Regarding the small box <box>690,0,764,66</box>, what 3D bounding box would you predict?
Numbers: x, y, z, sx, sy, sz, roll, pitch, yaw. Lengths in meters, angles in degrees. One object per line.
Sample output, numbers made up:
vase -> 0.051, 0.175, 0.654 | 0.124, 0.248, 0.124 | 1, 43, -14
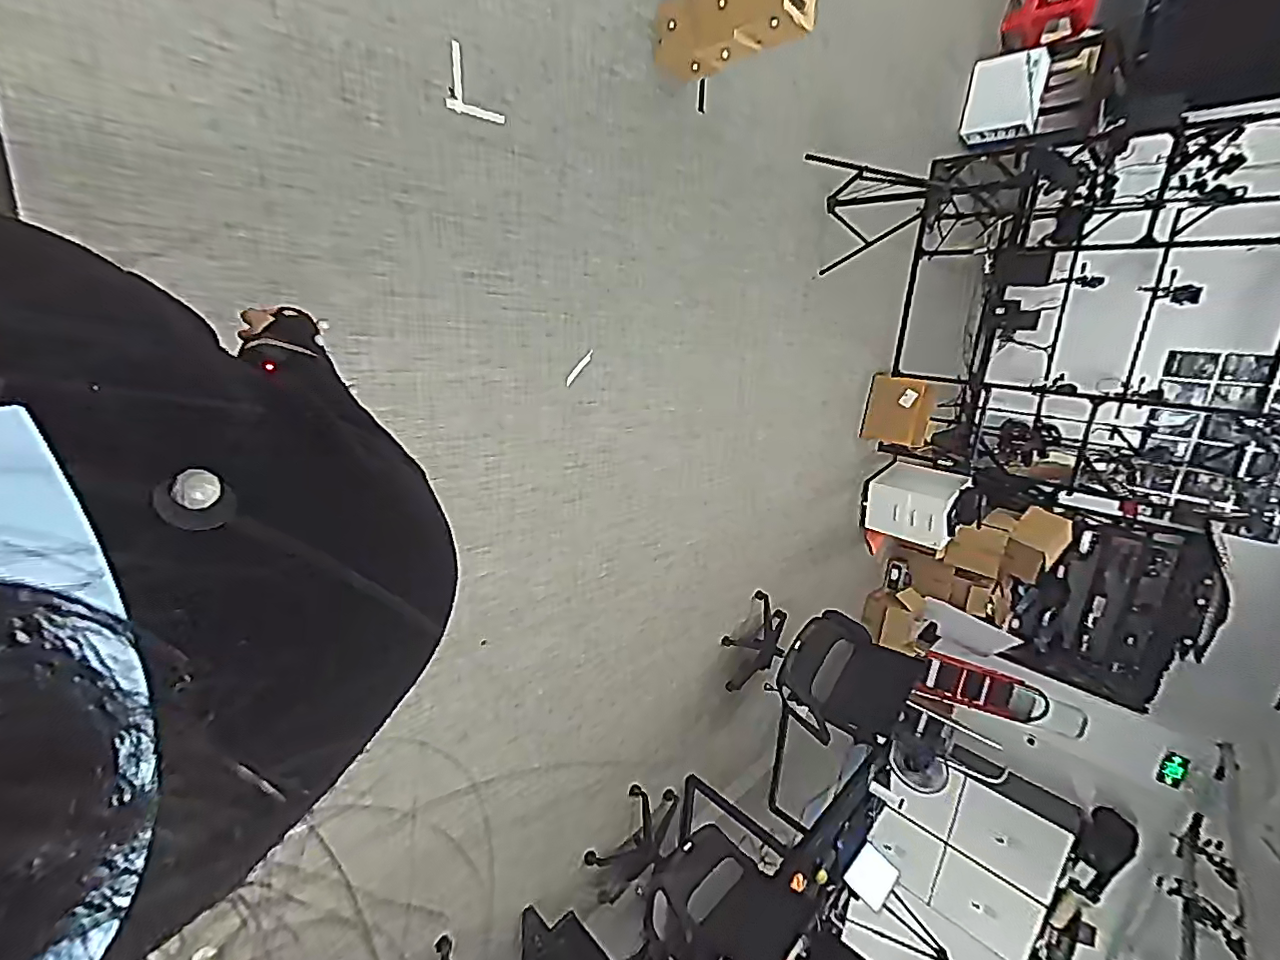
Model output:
small box -> 0.270, -1.446, 1.707 | 0.168, 0.176, 0.179 | -20, 117, -42

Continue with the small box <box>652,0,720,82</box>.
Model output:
small box -> 0.161, -1.481, 1.822 | 0.179, 0.176, 0.168 | -9, 111, -46
